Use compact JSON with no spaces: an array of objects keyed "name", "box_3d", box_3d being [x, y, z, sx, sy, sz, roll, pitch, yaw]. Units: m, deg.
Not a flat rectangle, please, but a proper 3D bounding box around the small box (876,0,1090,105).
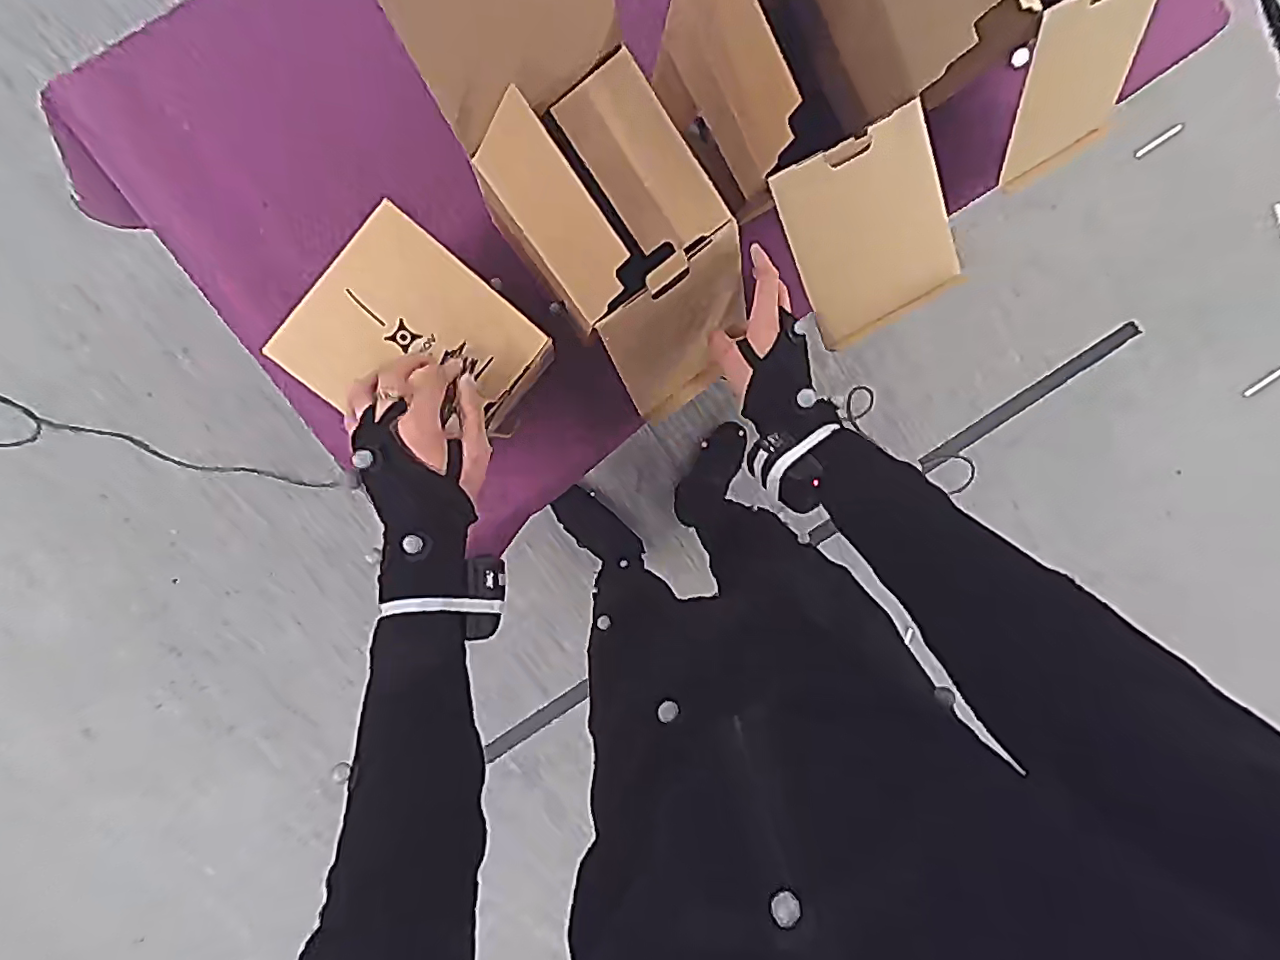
[{"name":"small box","box_3d":[0.373,-0.547,0.558,0.168,0.176,0.179,-32,100,-1]}]
